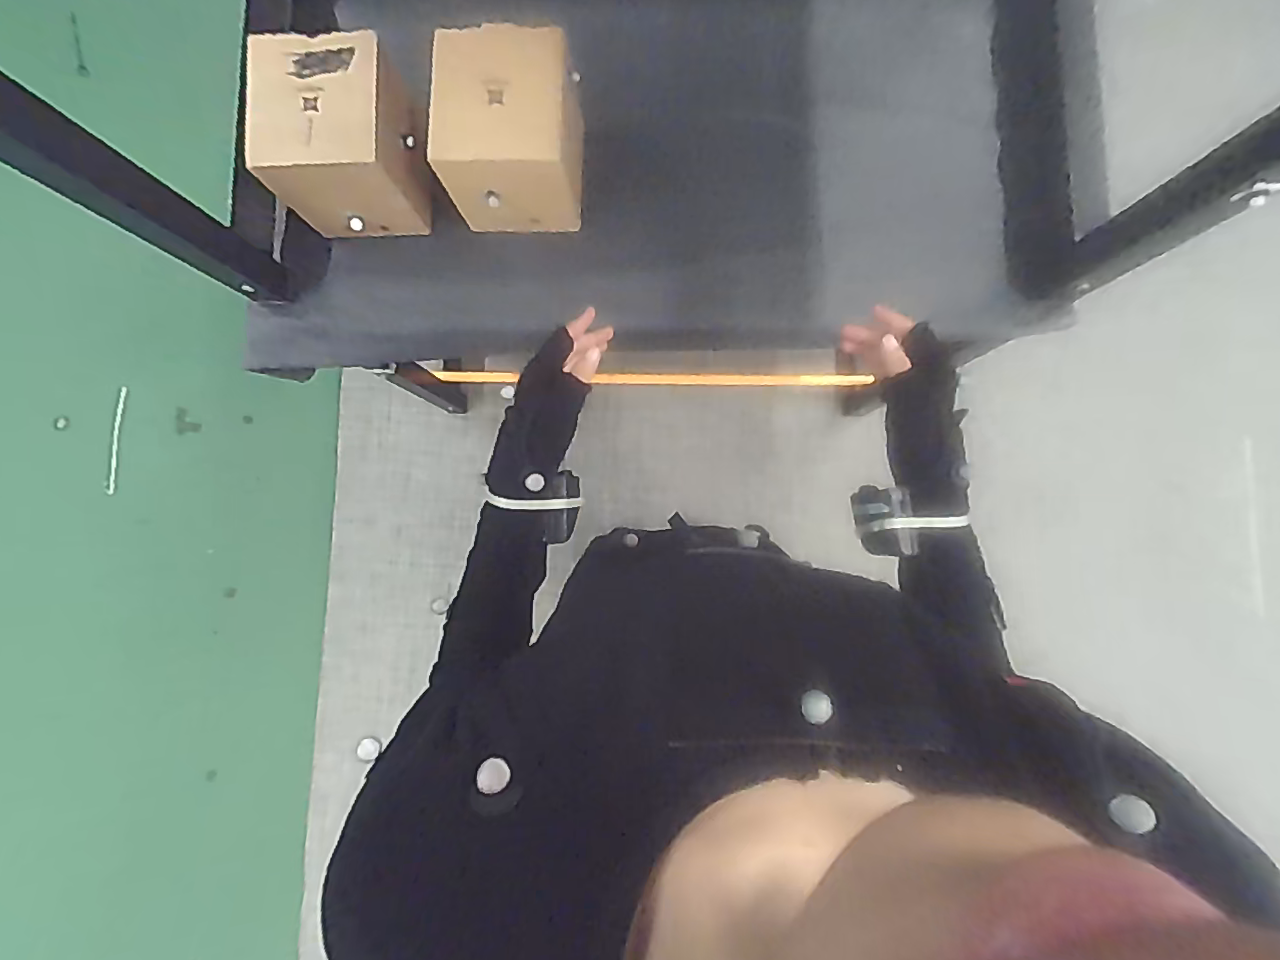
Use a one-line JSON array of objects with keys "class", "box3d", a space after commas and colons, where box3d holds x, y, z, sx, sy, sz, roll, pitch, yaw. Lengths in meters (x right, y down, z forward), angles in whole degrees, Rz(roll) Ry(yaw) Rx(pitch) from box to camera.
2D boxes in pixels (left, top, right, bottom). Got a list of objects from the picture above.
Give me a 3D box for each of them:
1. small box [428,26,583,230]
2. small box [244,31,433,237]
[{"class": "small box", "box3d": [-0.171, -0.464, 0.738, 0.168, 0.176, 0.179, 1, 84, 2]}, {"class": "small box", "box3d": [-0.398, -0.461, 0.742, 0.168, 0.176, 0.179, -1, 85, 2]}]
